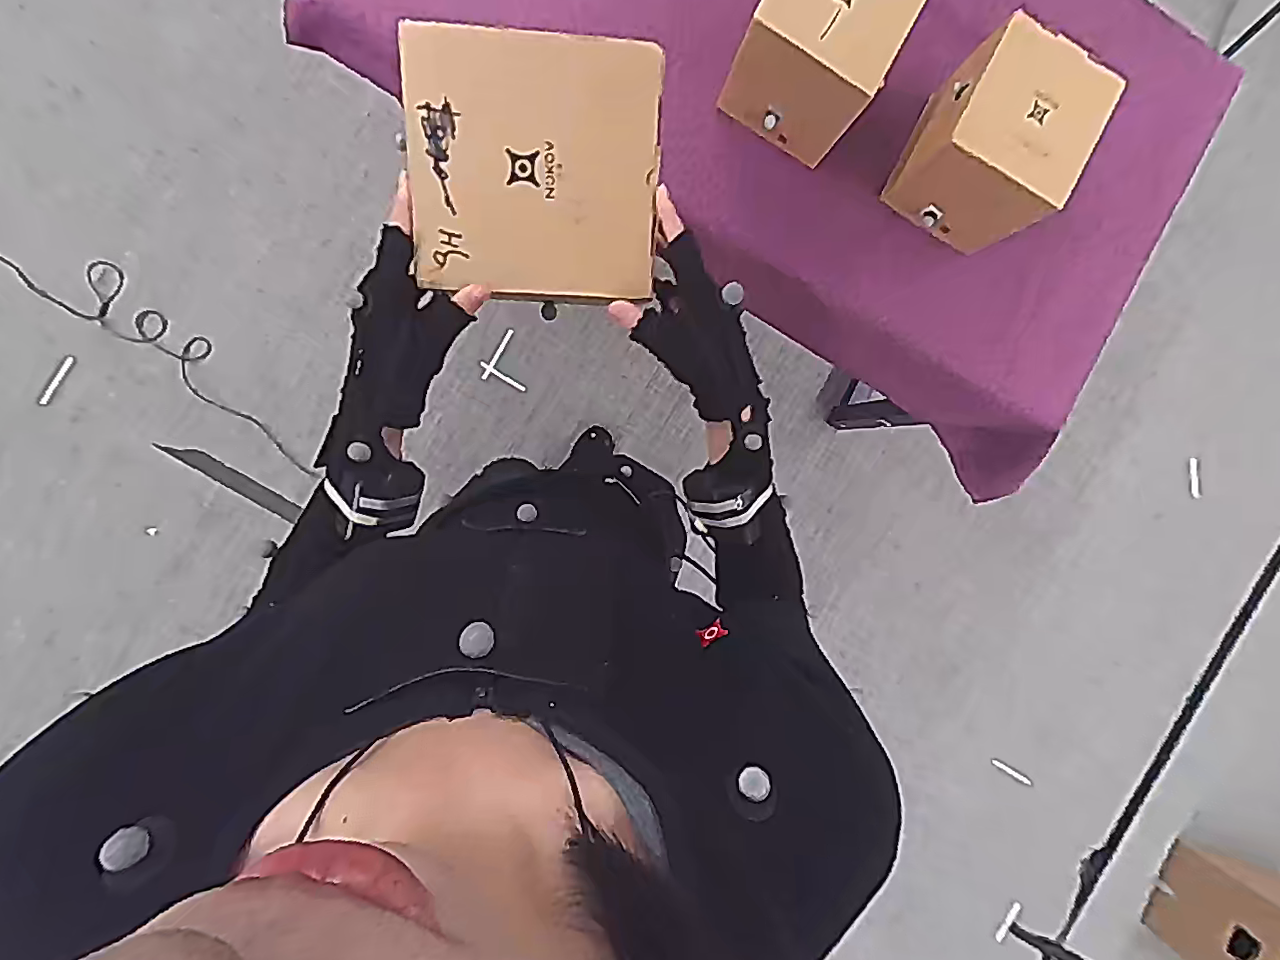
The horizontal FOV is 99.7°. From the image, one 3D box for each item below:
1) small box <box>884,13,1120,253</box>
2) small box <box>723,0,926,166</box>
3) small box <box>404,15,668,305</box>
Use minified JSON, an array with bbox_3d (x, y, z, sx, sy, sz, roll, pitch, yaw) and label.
[{"bbox_3d":[0.466,-0.444,0.725,0.168,0.176,0.179,27,91,-6],"label":"small box"},{"bbox_3d":[0.227,-0.556,0.691,0.168,0.176,0.179,28,90,-7],"label":"small box"},{"bbox_3d":[-0.080,-0.240,0.455,0.179,0.176,0.168,1,105,-6],"label":"small box"}]
